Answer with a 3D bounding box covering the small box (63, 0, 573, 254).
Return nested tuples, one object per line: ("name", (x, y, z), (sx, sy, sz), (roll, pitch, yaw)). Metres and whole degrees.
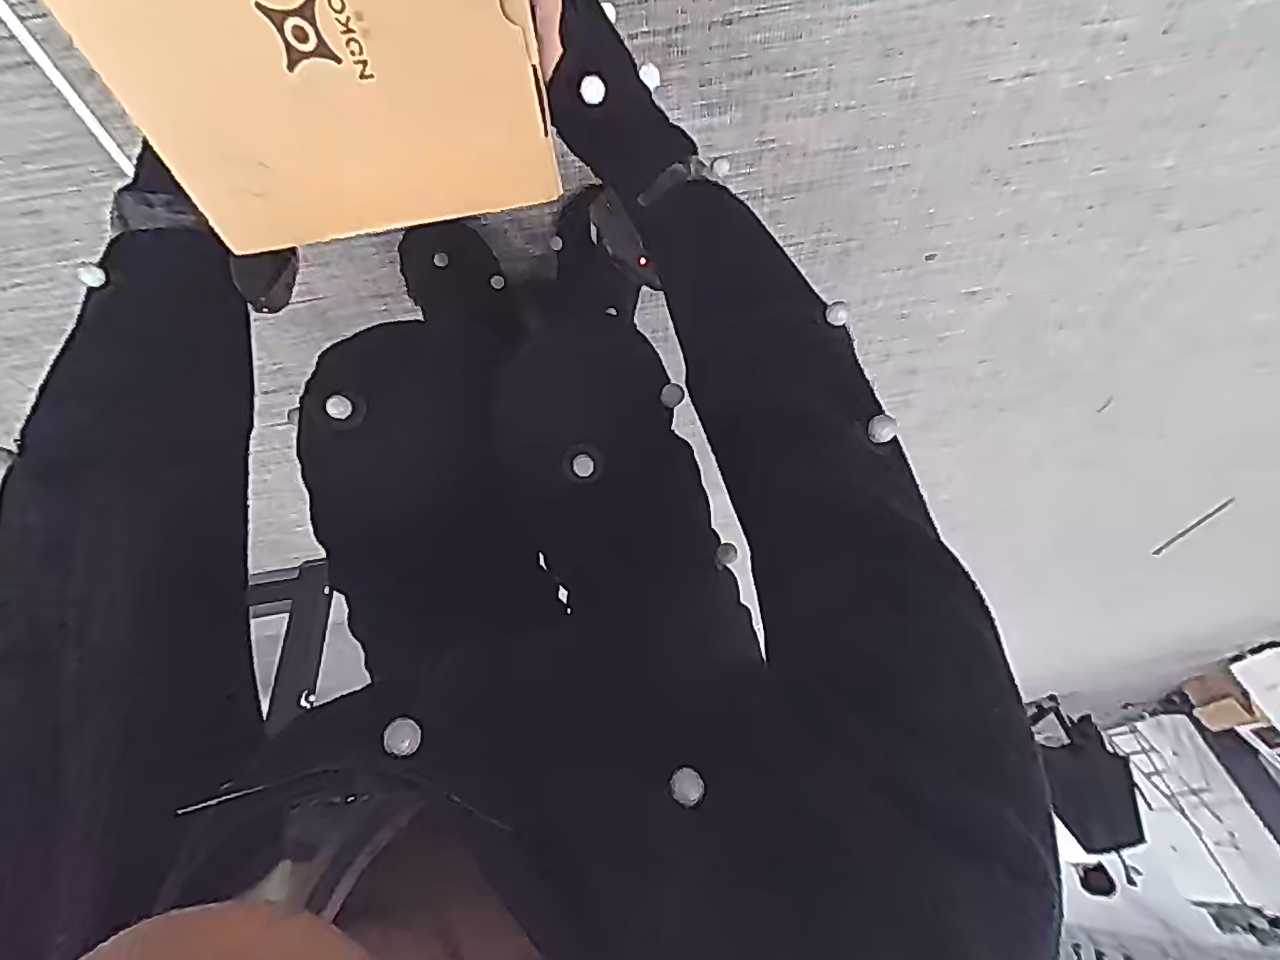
("small box", (-0.138, -0.242, 0.263), (0.179, 0.176, 0.168), (-12, 145, -3))
